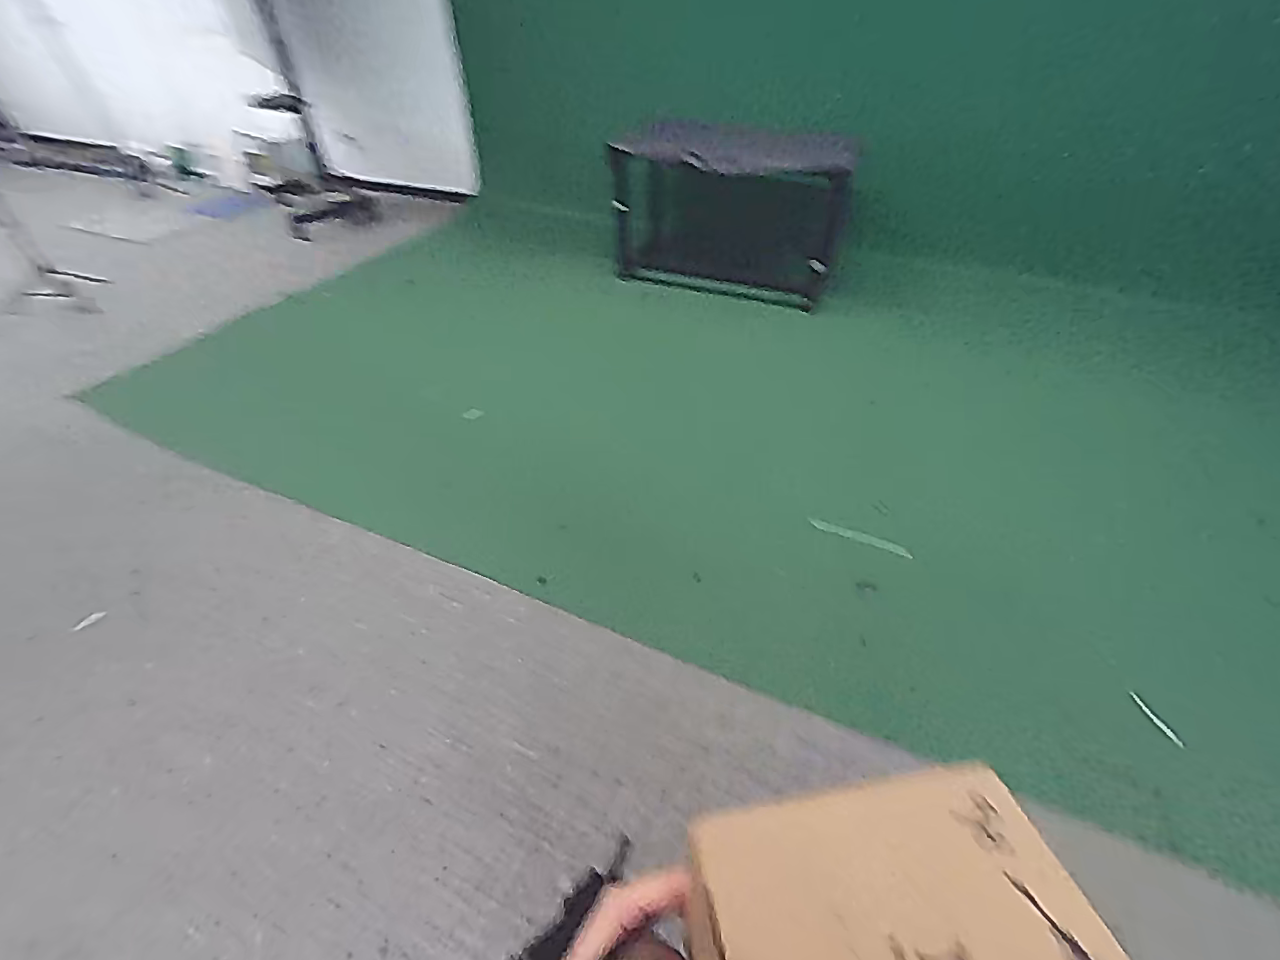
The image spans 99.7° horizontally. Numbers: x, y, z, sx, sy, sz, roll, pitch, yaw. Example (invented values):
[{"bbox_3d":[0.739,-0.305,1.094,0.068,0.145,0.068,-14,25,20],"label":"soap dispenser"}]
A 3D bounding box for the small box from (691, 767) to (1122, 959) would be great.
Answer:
[{"bbox_3d":[0.128,0.285,0.277,0.179,0.176,0.168,-7,33,-6],"label":"small box"}]
